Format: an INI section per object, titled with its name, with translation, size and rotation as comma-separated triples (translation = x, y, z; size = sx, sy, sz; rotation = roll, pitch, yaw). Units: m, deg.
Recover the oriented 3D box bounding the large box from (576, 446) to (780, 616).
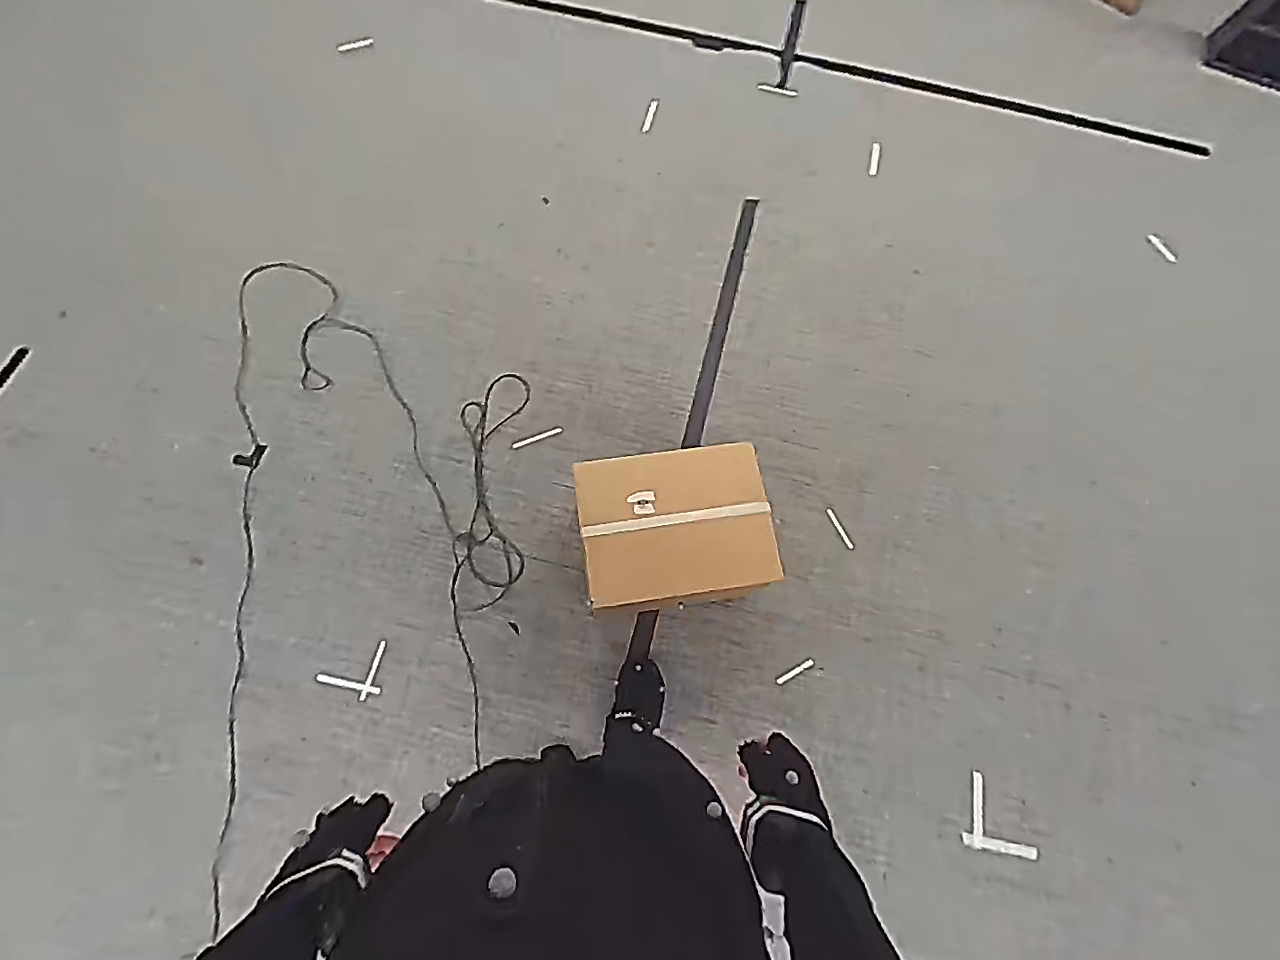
[large box]
translation = 0.071, 0.136, 1.292
size = 0.408, 0.320, 0.320
rotation = -7, 72, -5
